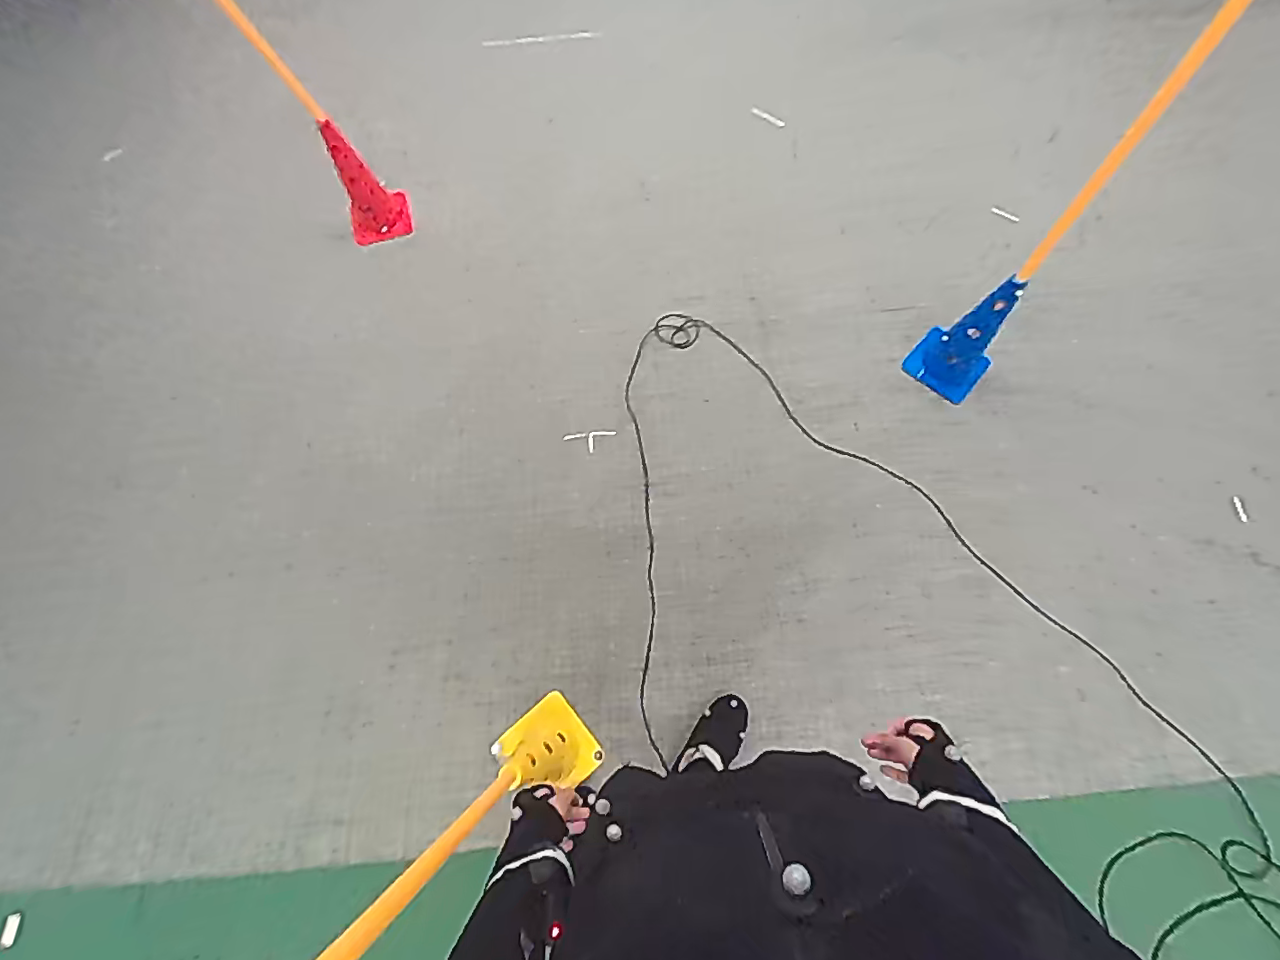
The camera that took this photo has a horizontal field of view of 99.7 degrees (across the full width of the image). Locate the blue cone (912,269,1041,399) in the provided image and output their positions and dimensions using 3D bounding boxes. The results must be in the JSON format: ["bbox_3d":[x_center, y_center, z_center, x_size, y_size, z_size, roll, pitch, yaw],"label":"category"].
[{"bbox_3d":[0.896,-0.403,1.411,0.192,0.380,0.193,38,73,15],"label":"blue cone"}]
